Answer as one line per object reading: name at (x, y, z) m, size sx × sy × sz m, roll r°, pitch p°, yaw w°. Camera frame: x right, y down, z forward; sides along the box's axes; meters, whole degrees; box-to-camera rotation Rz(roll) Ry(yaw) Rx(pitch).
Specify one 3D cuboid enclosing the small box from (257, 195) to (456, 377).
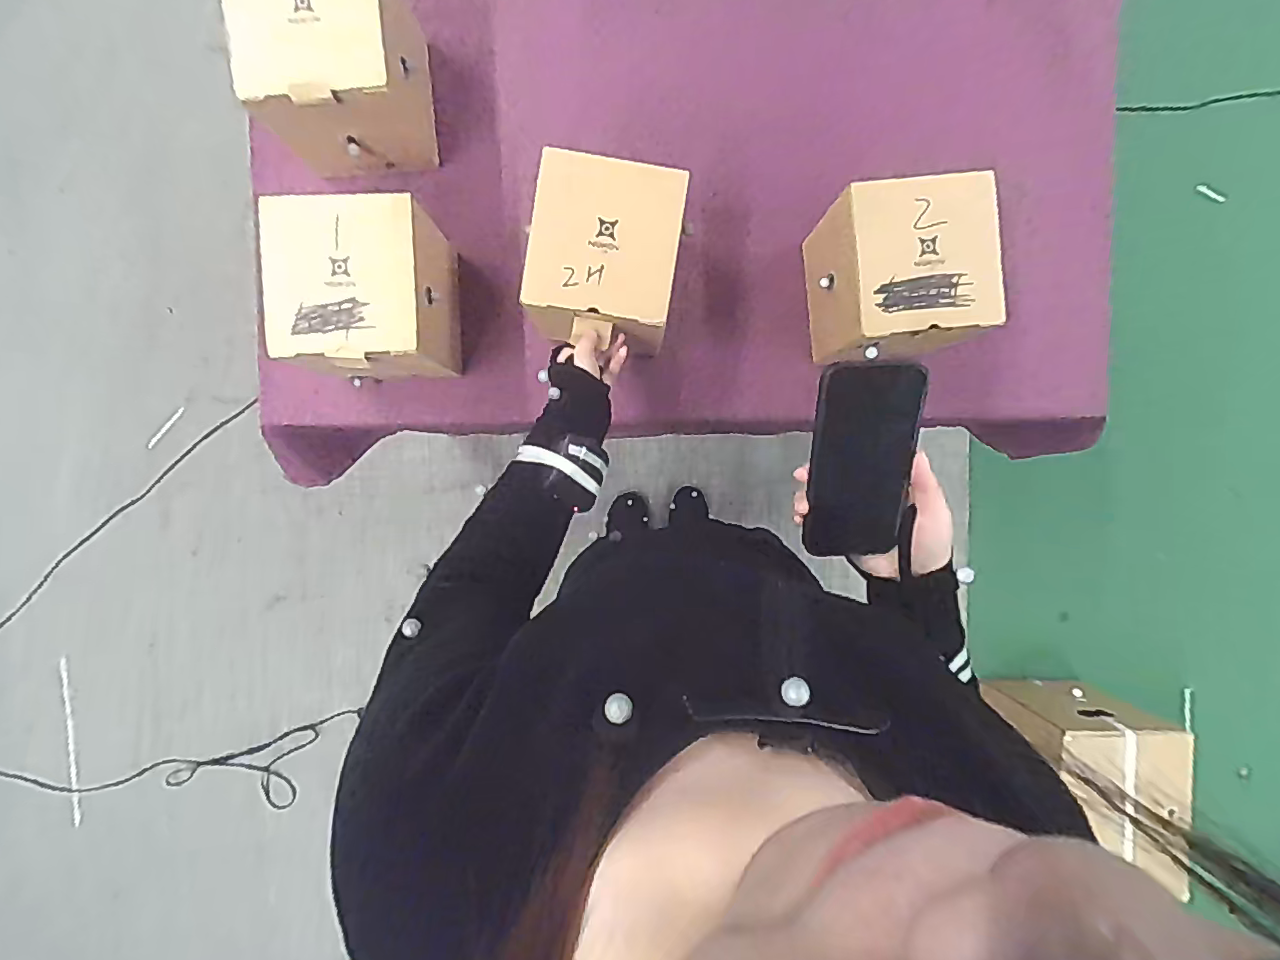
small box at (-0.335, -0.225, 0.671) m, size 0.168 × 0.176 × 0.179 m, roll -2°, pitch 91°, yaw -2°

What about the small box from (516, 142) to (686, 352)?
small box at (-0.045, -0.275, 0.677) m, size 0.168 × 0.176 × 0.179 m, roll 9°, pitch 91°, yaw -1°

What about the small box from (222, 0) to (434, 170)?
small box at (-0.365, -0.503, 0.660) m, size 0.168 × 0.176 × 0.179 m, roll -5°, pitch 93°, yaw -2°
